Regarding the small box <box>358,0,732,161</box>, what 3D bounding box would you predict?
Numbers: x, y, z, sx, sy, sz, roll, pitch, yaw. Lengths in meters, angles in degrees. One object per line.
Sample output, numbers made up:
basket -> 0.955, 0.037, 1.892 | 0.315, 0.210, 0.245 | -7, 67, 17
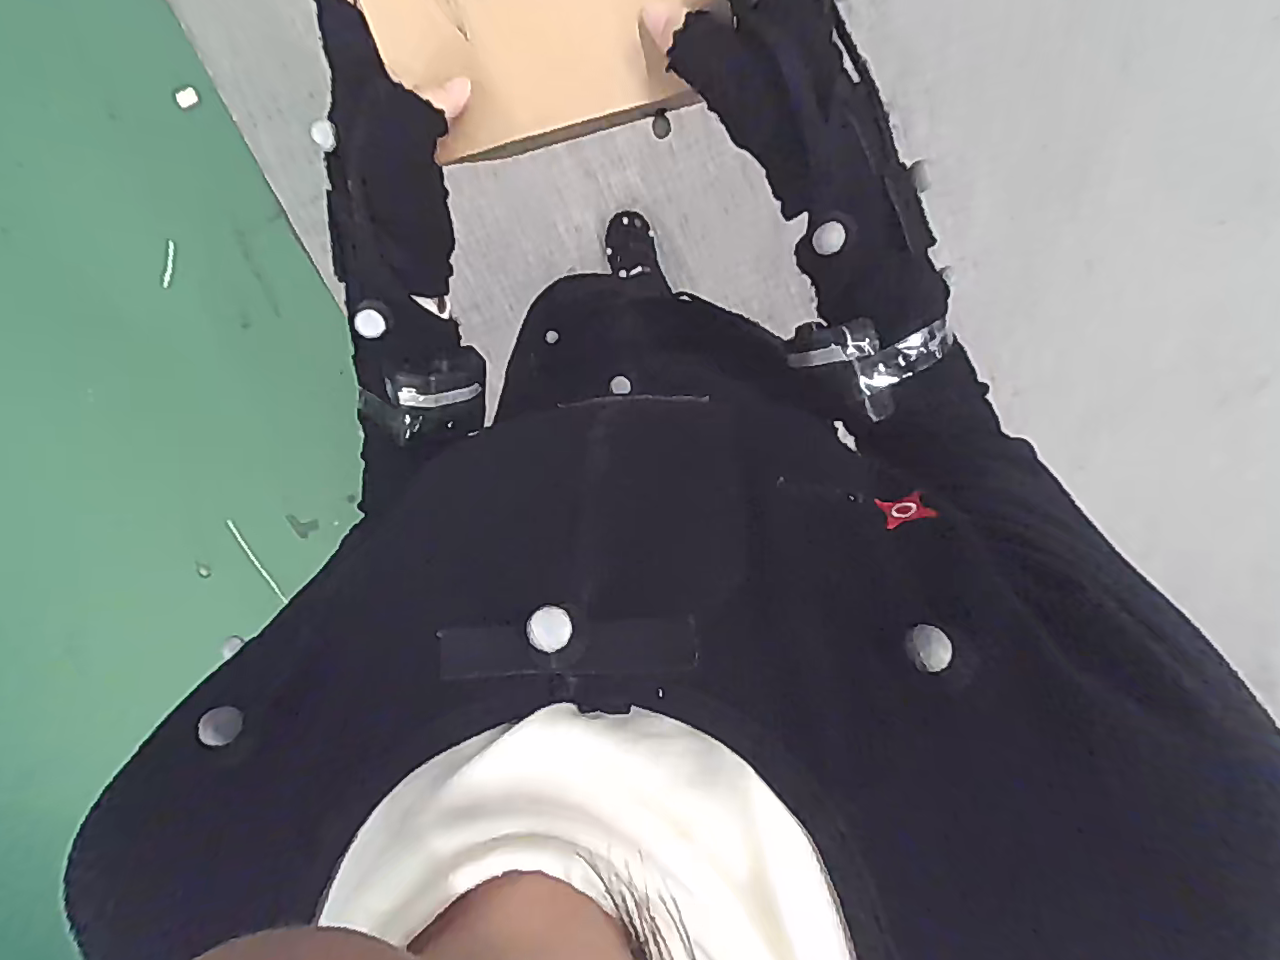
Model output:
small box -> -0.053, -0.302, 0.311 | 0.179, 0.176, 0.168 | -10, 121, 11
